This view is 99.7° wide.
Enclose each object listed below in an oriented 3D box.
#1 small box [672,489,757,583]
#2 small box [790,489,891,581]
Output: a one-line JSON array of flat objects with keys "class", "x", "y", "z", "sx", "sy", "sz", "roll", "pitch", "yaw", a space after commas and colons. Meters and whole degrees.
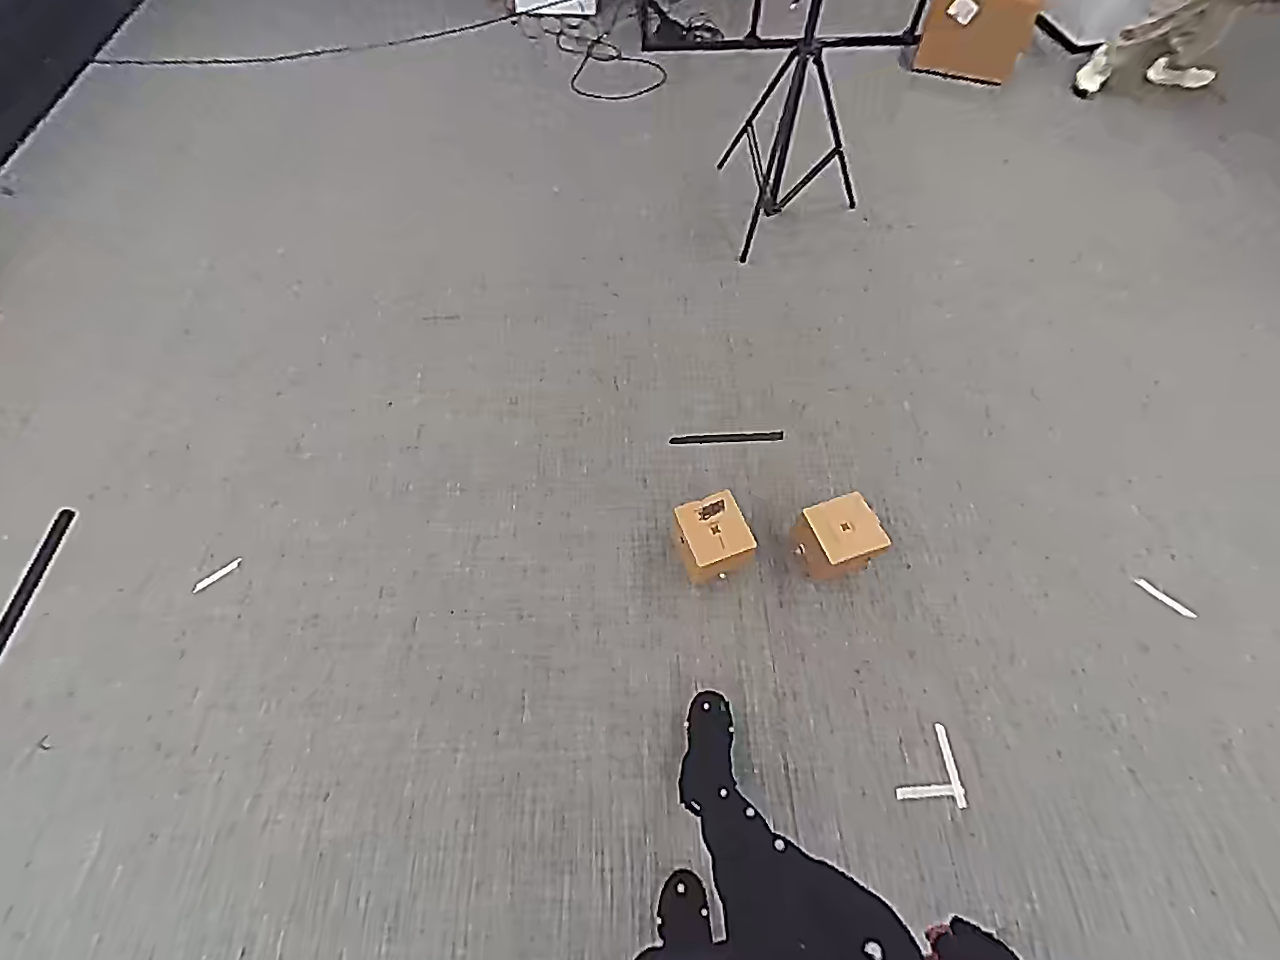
[{"class": "small box", "x": 0.193, "y": 0.155, "z": 1.470, "sx": 0.168, "sy": 0.176, "sz": 0.179, "roll": -19, "pitch": 64, "yaw": -9}, {"class": "small box", "x": 0.534, "y": 0.153, "z": 1.468, "sx": 0.179, "sy": 0.176, "sz": 0.168, "roll": -18, "pitch": 62, "yaw": -8}]
